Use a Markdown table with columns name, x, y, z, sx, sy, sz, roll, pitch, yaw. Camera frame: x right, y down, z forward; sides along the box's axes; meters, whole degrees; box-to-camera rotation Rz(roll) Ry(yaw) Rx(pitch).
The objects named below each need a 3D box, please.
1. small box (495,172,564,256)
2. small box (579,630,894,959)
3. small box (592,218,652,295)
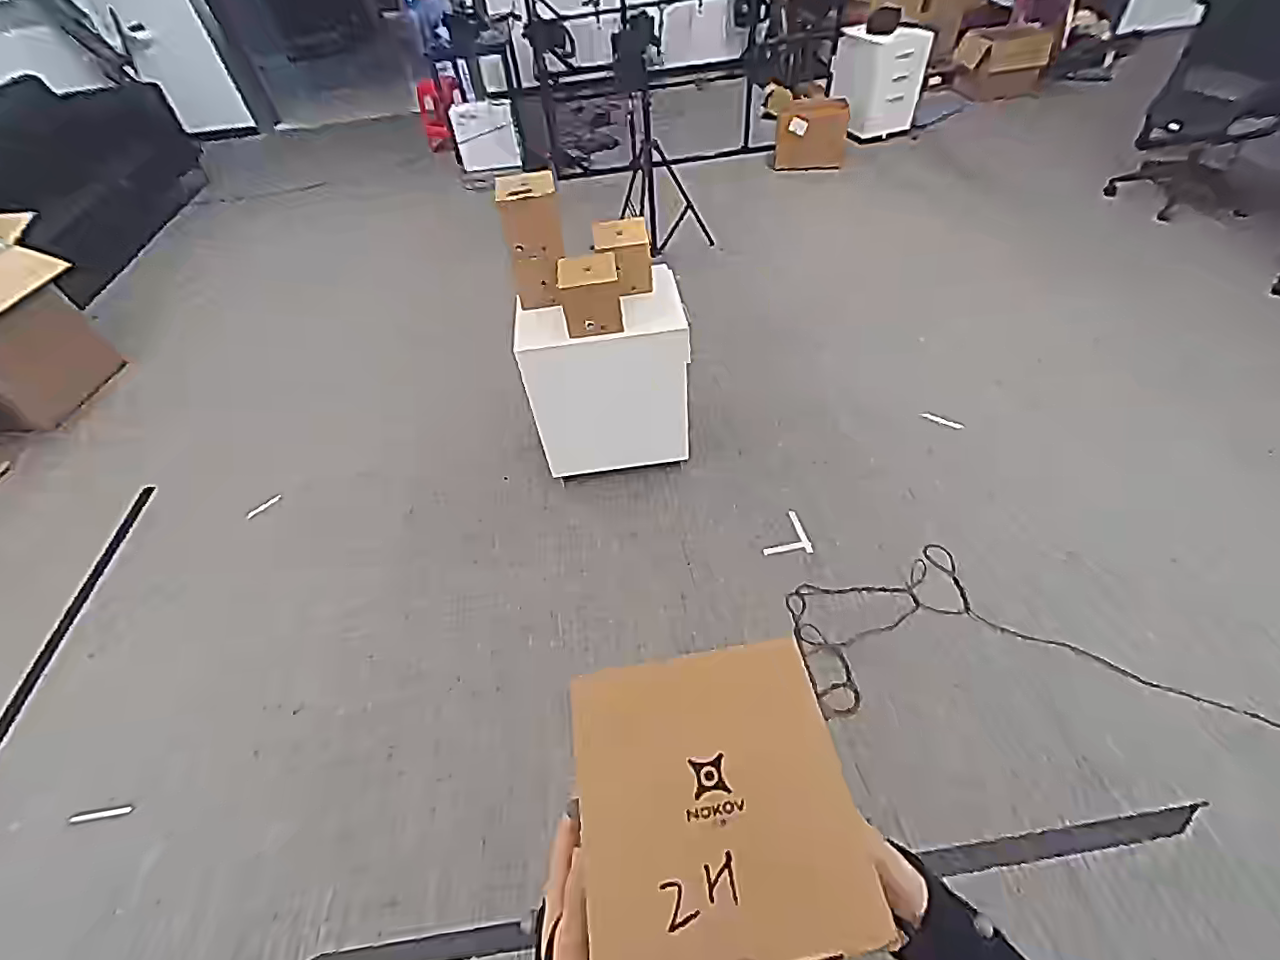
| name | x | y | z | sx | sy | sz | roll | pitch | yaw |
| --- | --- | --- | --- | --- | --- | --- | --- | --- | --- |
| small box | -0.321 | -0.774 | 1.587 | 0.168 | 0.176 | 0.179 | -10 | 49 | -3 |
| small box | 0.053 | 0.237 | 0.403 | 0.168 | 0.176 | 0.179 | -10 | 52 | 0 |
| small box | -0.056 | -0.702 | 1.716 | 0.168 | 0.176 | 0.179 | -8 | 49 | 0 |
